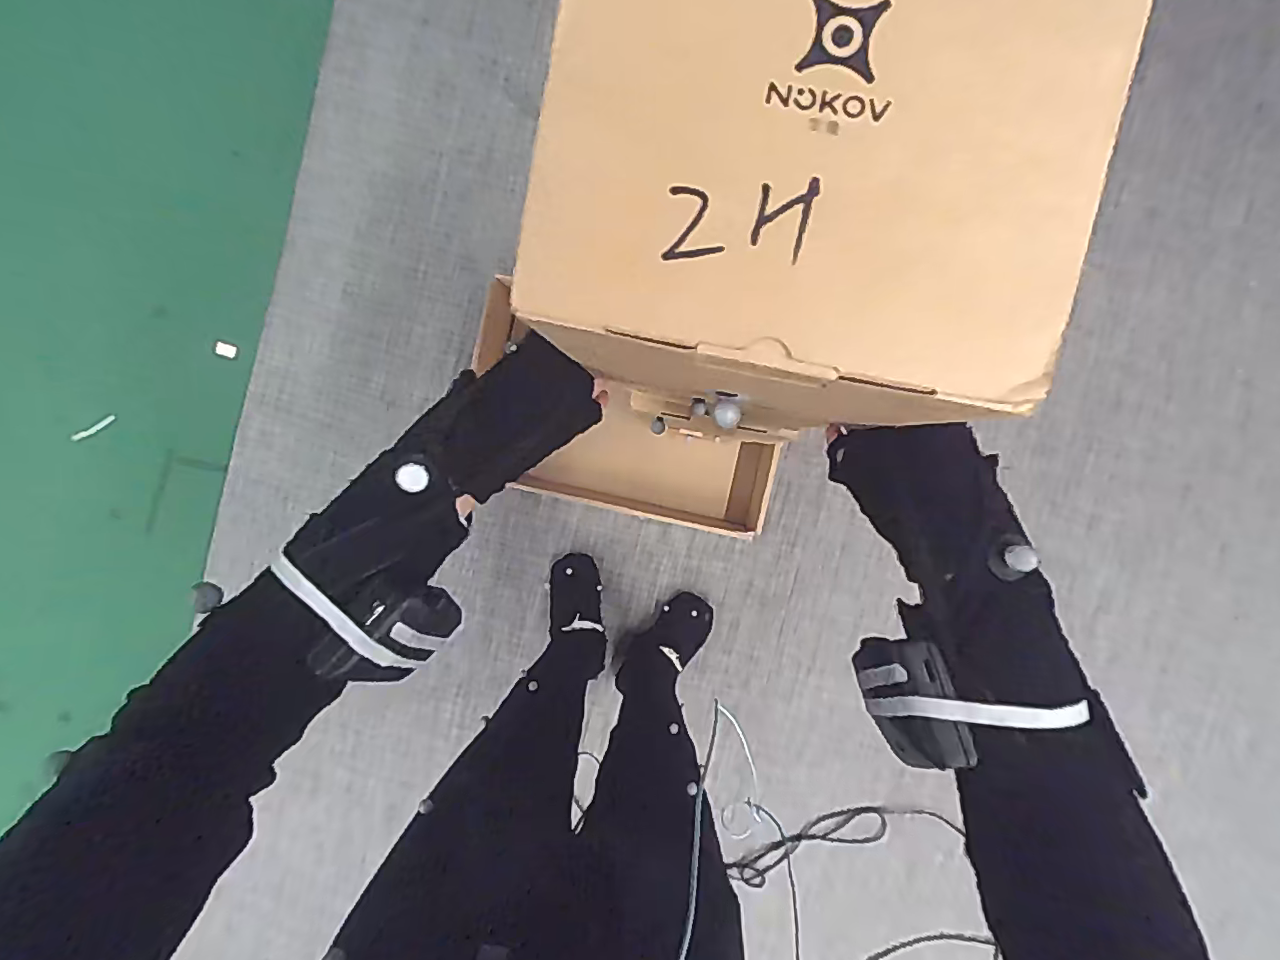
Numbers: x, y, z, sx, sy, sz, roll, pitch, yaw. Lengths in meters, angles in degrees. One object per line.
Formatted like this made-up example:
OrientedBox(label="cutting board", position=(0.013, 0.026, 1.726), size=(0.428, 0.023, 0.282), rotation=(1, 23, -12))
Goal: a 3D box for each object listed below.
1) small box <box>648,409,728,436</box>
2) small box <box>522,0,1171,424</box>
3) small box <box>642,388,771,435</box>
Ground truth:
OrientedBox(label="small box", position=(0.116, -0.185, 1.079), size=(0.168, 0.176, 0.179), rotation=(9, 92, 5))
OrientedBox(label="small box", position=(0.064, -0.126, 0.236), size=(0.168, 0.176, 0.179), rotation=(12, 96, 3))
OrientedBox(label="small box", position=(0.107, -0.163, 0.751), size=(0.168, 0.176, 0.179), rotation=(14, 93, 2))
